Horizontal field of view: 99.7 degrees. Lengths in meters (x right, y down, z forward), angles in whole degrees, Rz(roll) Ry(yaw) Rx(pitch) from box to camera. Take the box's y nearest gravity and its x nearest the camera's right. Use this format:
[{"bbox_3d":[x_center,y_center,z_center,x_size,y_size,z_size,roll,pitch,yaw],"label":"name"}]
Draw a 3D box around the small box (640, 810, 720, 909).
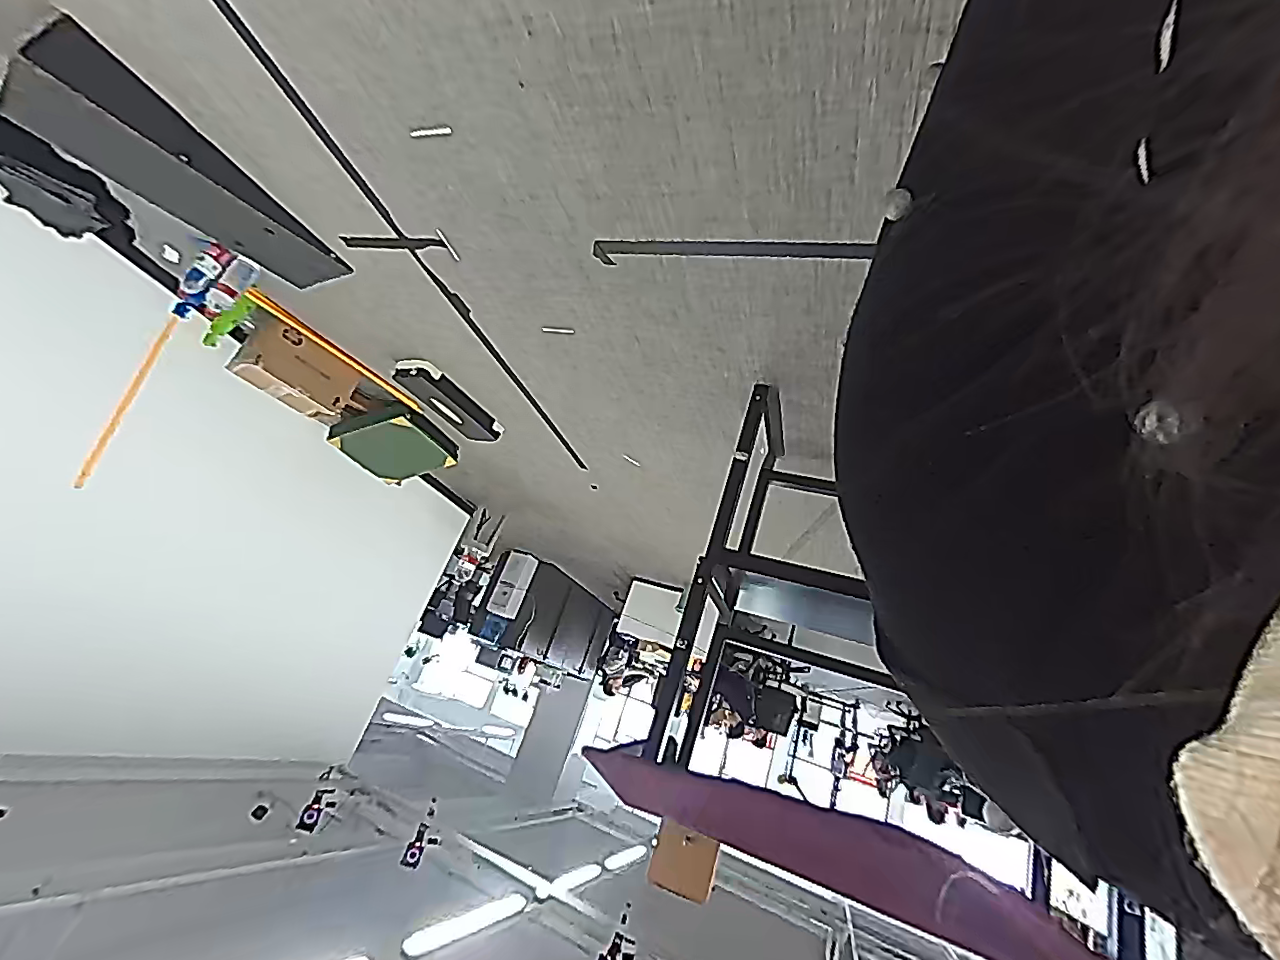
[{"bbox_3d":[0.119,1.070,1.541,0.179,0.176,0.168,14,158,18],"label":"small box"}]
